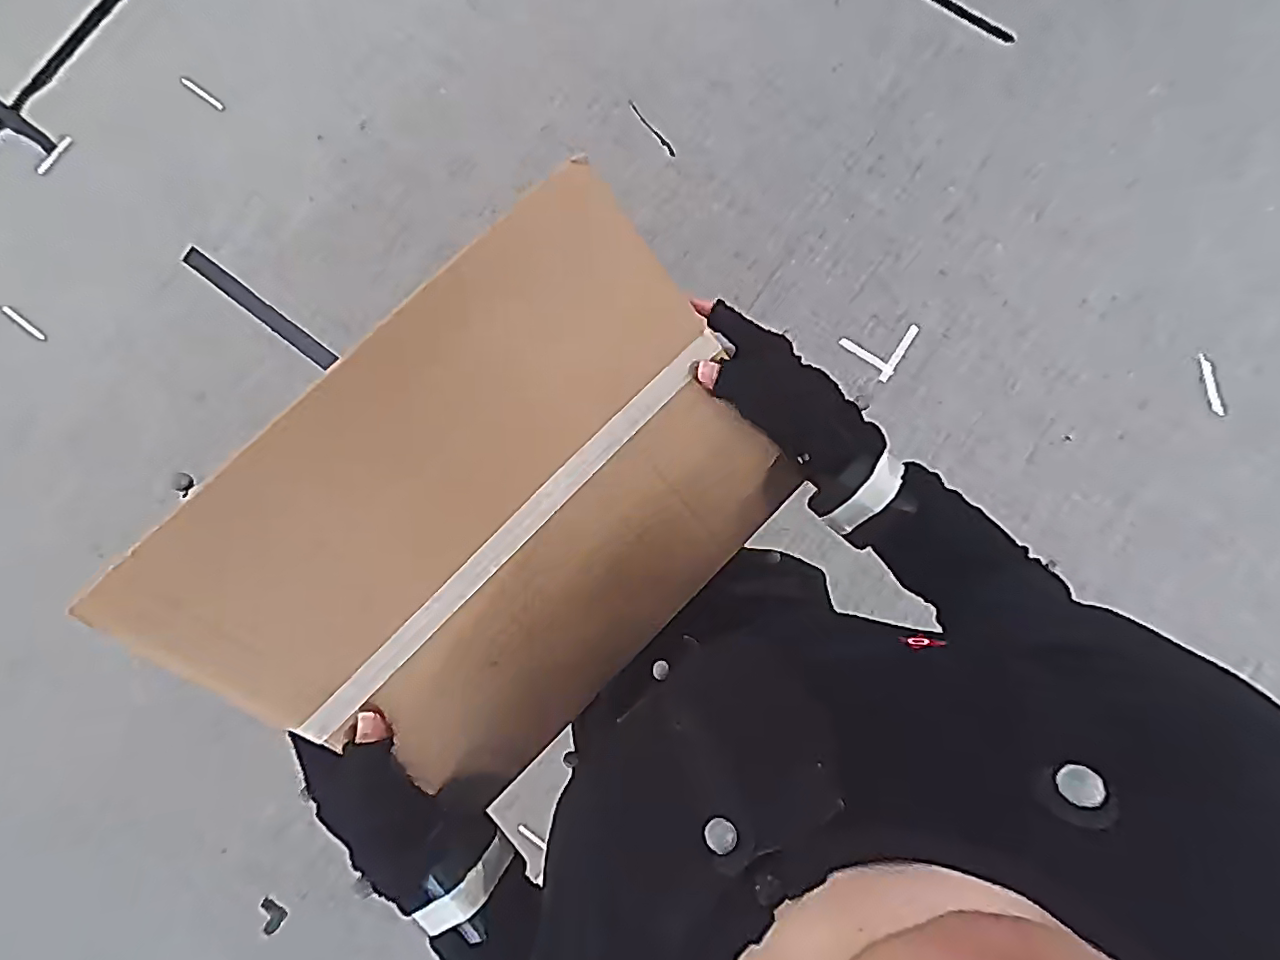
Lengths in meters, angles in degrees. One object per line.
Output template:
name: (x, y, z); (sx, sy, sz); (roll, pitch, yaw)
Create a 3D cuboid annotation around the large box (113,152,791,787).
large box: (-0.146, -0.016, 0.538); (0.408, 0.320, 0.320); (-45, 117, -5)
